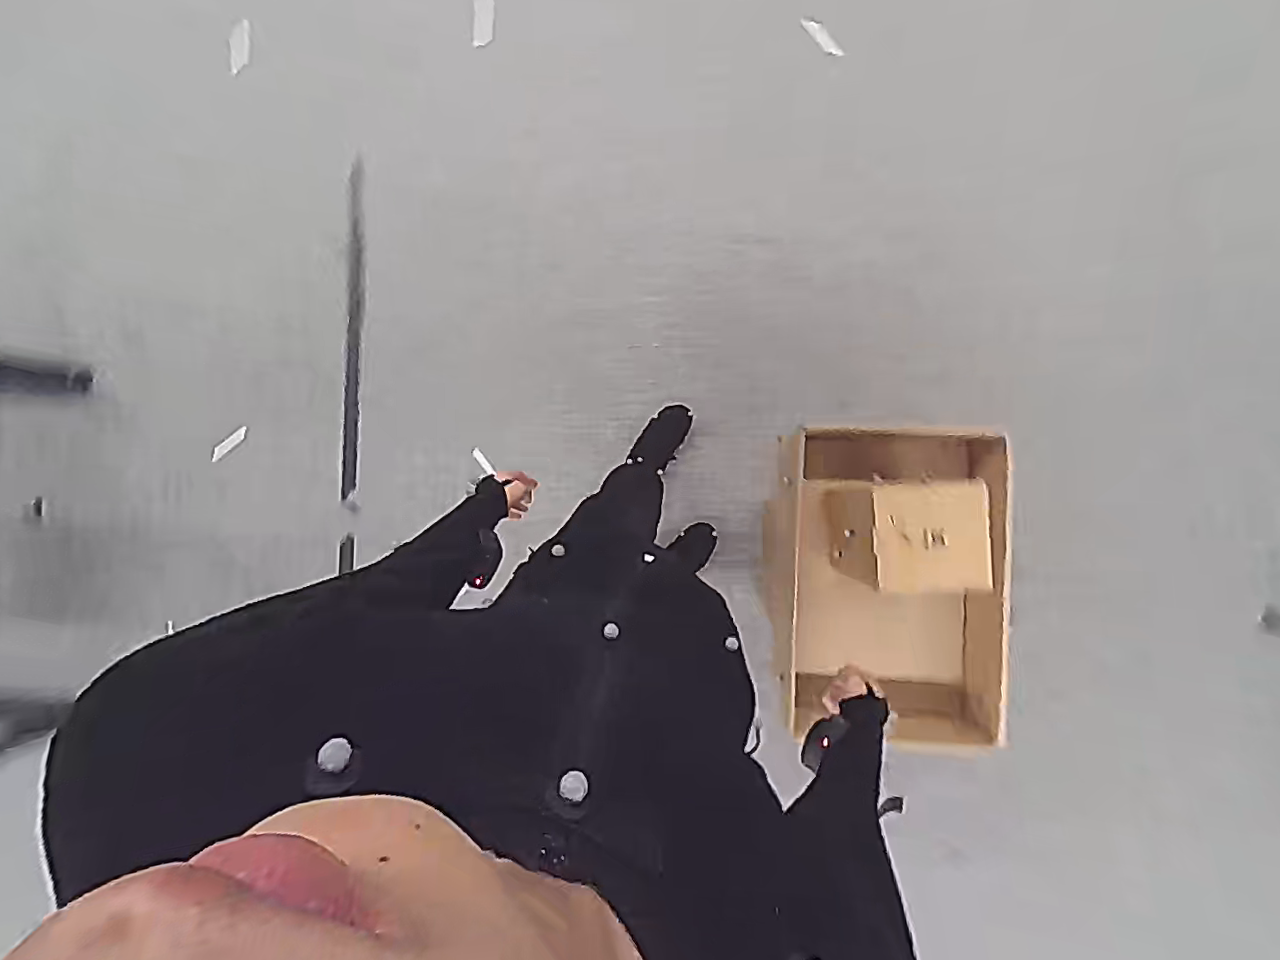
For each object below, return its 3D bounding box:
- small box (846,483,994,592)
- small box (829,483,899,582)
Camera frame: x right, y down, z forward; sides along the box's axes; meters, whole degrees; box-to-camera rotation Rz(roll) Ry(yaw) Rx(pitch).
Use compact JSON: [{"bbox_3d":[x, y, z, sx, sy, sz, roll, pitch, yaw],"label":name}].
[{"bbox_3d":[0.468,0.092,0.926,0.179,0.176,0.168,-3,91,5],"label":"small box"},{"bbox_3d":[0.489,0.100,1.089,0.168,0.176,0.179,-4,90,5],"label":"small box"}]
